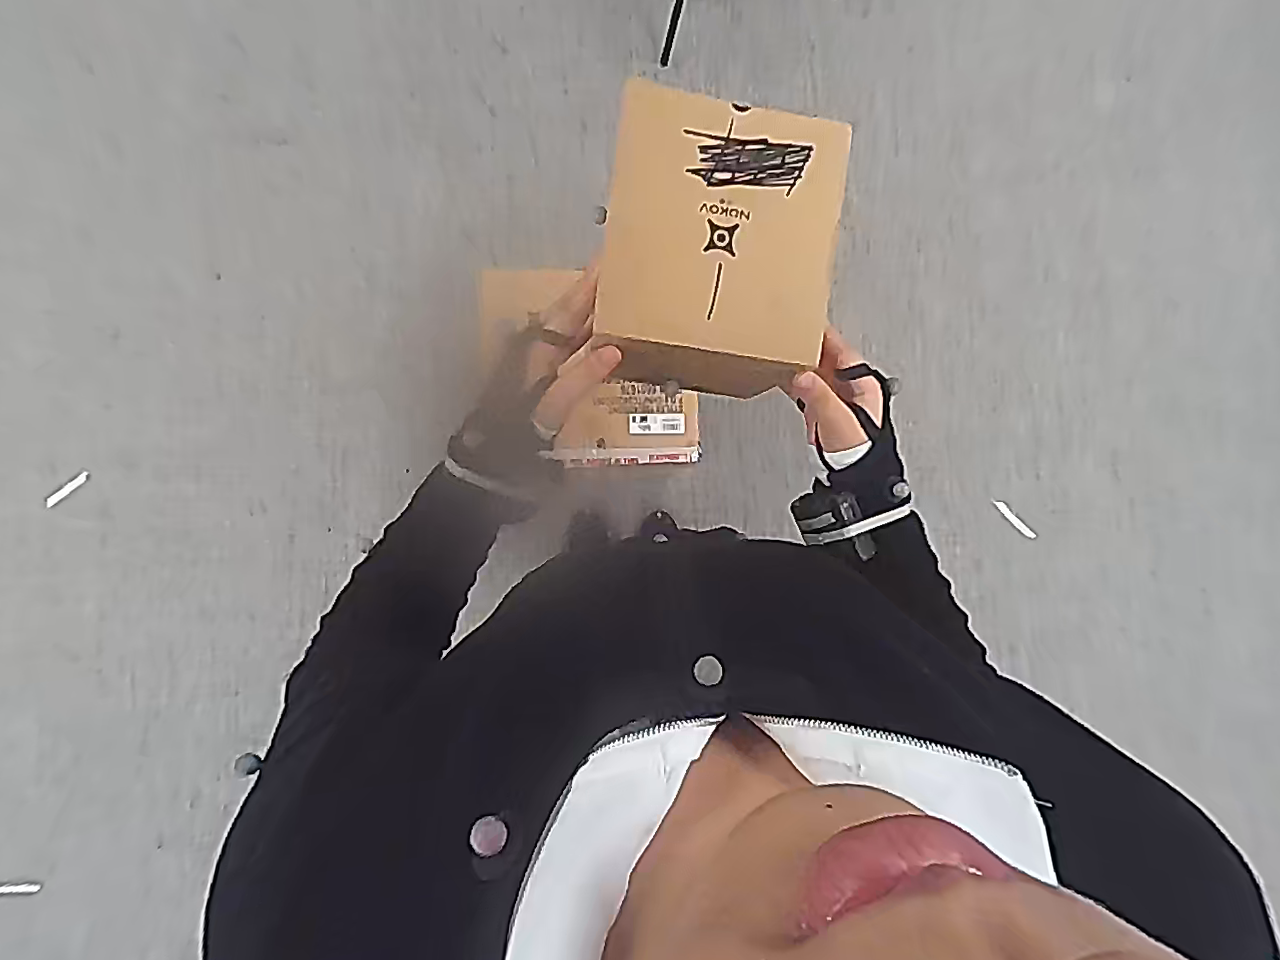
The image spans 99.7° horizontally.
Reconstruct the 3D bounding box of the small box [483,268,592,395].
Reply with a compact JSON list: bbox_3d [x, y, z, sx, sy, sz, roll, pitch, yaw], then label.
[{"bbox_3d":[-0.173,-0.252,0.951,0.168,0.176,0.179,0,89,-1],"label":"small box"}]
